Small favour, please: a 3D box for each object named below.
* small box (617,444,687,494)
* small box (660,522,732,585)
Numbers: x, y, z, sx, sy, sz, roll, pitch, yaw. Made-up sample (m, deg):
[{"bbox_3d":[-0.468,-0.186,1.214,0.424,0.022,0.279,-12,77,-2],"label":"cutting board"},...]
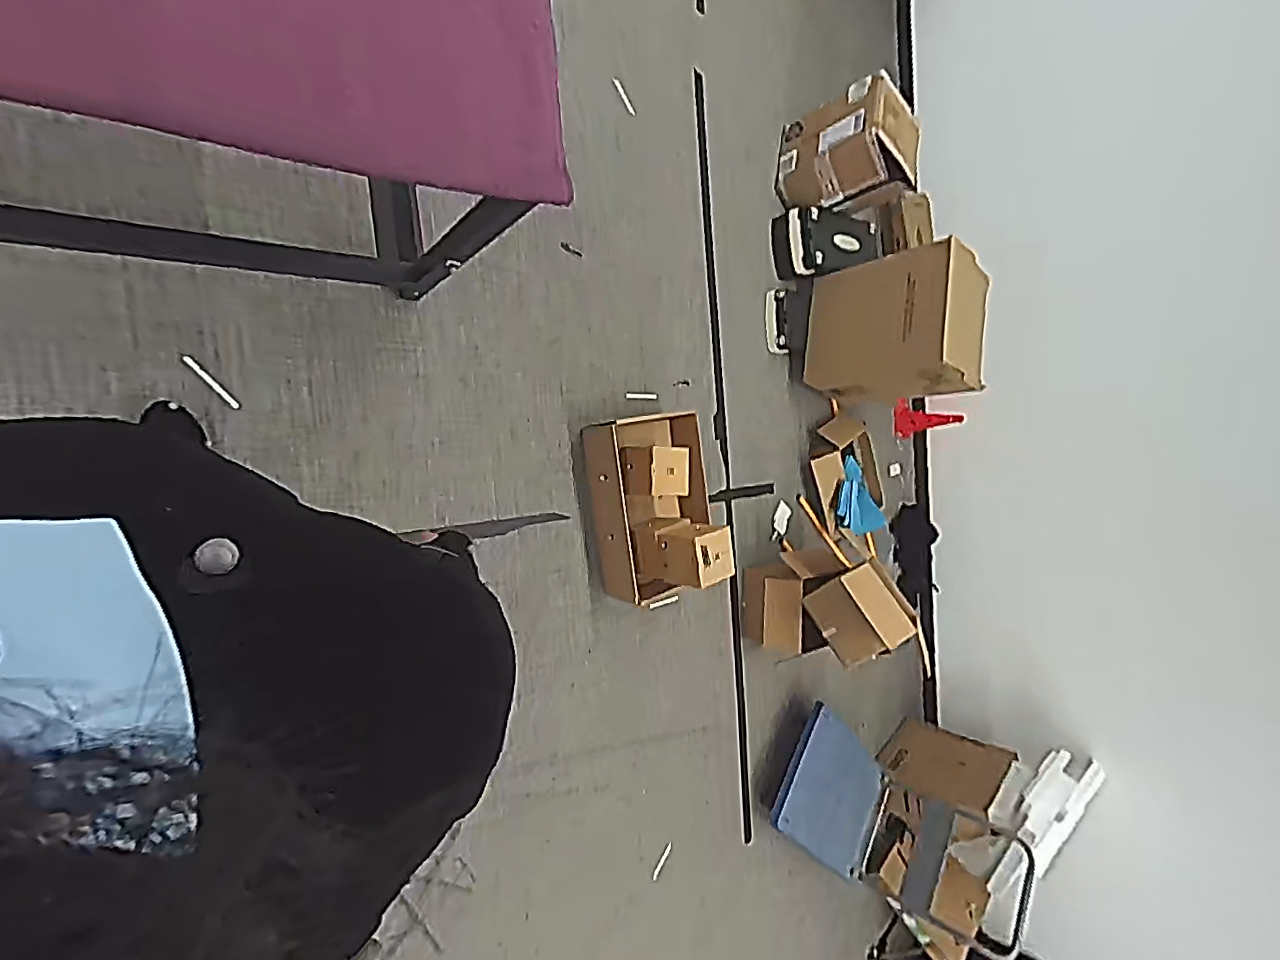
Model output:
[{"bbox_3d":[0.041,-0.039,1.889,0.179,0.176,0.168,0,92,-41],"label":"small box"},{"bbox_3d":[0.178,0.239,1.791,0.179,0.176,0.168,-13,99,-41],"label":"small box"}]
